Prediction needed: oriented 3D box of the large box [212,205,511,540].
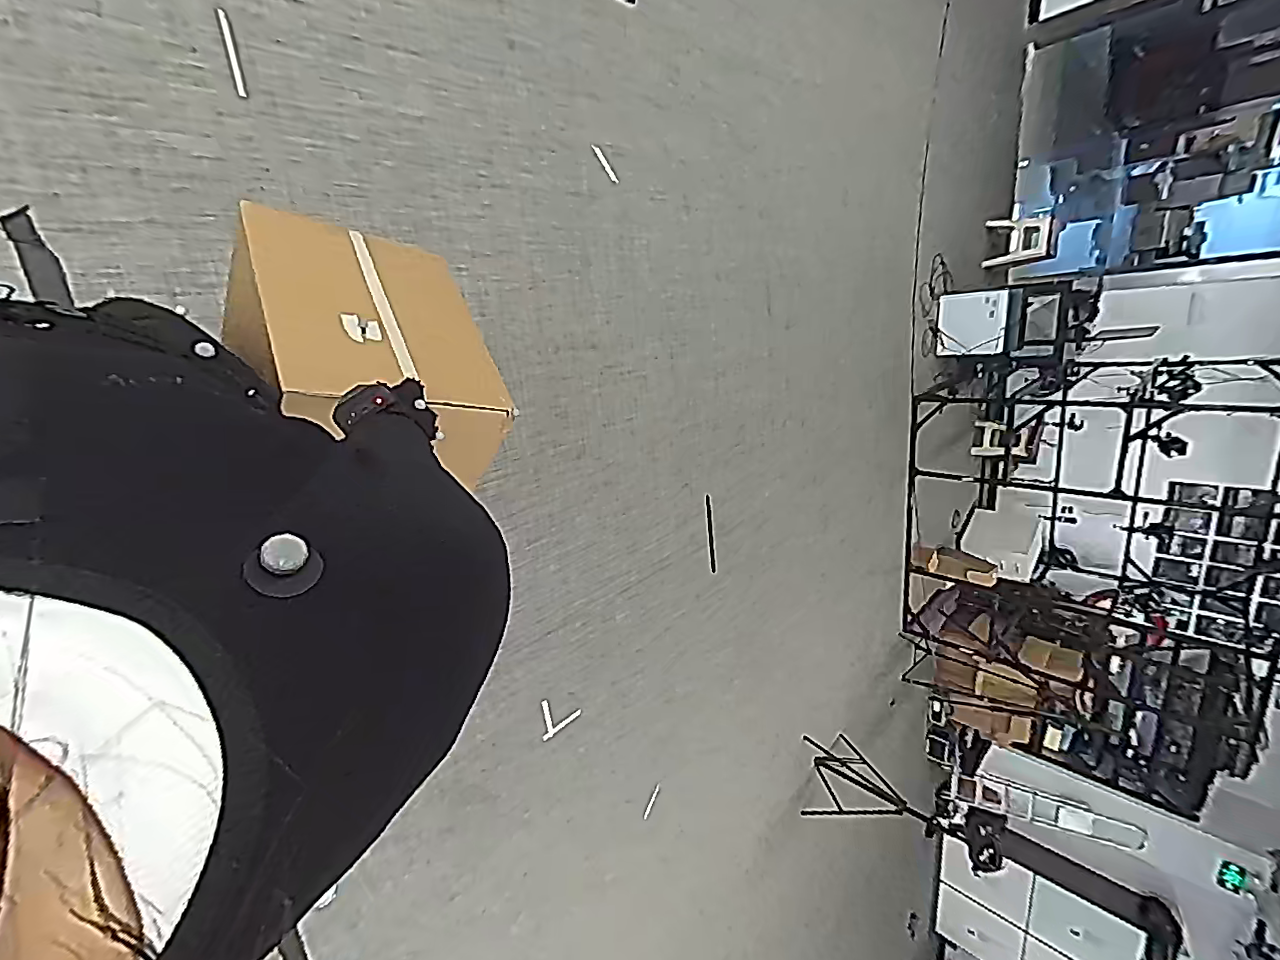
[{"bbox_3d":[-0.478,-0.158,0.898,0.320,0.408,0.320,-1,144,-45],"label":"large box"}]
